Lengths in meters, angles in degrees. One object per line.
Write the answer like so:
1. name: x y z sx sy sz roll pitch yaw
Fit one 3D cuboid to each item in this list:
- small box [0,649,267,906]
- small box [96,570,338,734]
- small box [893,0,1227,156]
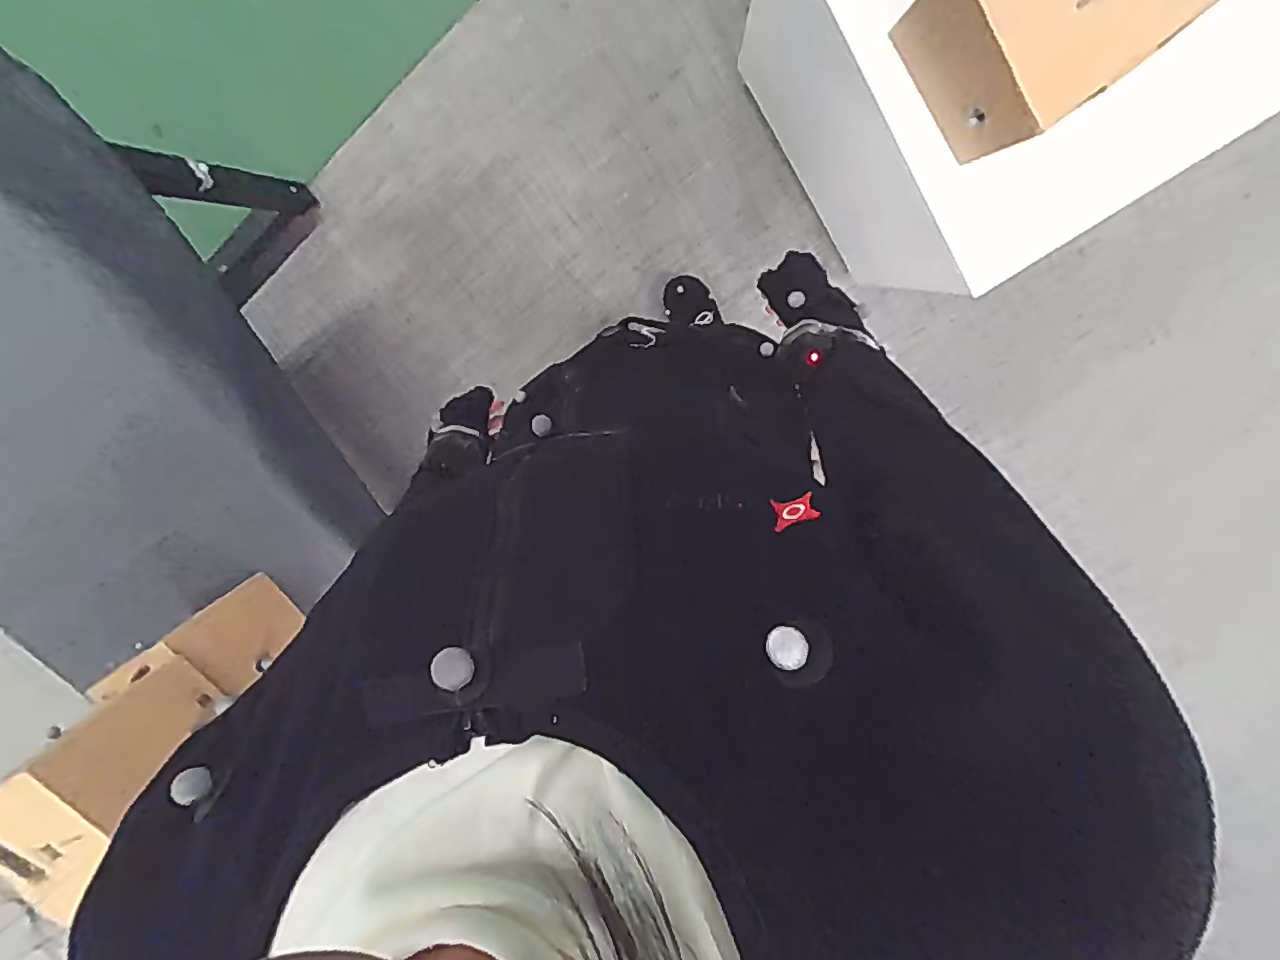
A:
1. small box: -0.588 0.333 0.623 0.179 0.176 0.168 -33 104 19
2. small box: -0.583 0.262 0.772 0.168 0.176 0.179 -29 106 16
3. small box: 0.384 -0.451 0.526 0.168 0.176 0.179 -36 102 17
